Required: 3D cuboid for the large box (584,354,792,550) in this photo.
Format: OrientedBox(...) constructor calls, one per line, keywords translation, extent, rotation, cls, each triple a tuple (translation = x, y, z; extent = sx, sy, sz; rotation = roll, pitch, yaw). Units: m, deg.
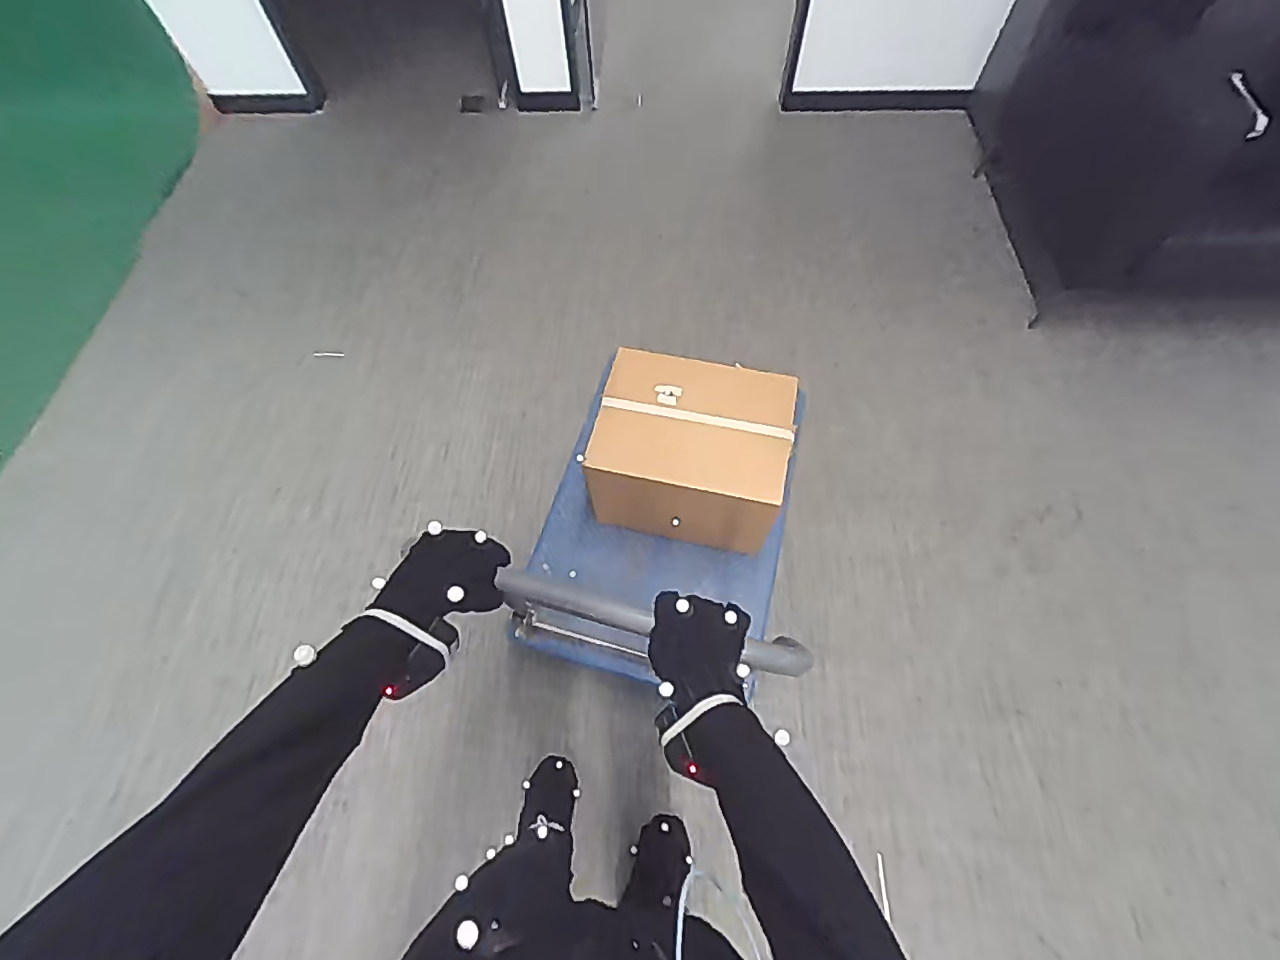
OrientedBox(translation=(0.116, -0.055, 1.275), extent=(0.408, 0.320, 0.320), rotation=(11, 64, 8), cls="large box")
